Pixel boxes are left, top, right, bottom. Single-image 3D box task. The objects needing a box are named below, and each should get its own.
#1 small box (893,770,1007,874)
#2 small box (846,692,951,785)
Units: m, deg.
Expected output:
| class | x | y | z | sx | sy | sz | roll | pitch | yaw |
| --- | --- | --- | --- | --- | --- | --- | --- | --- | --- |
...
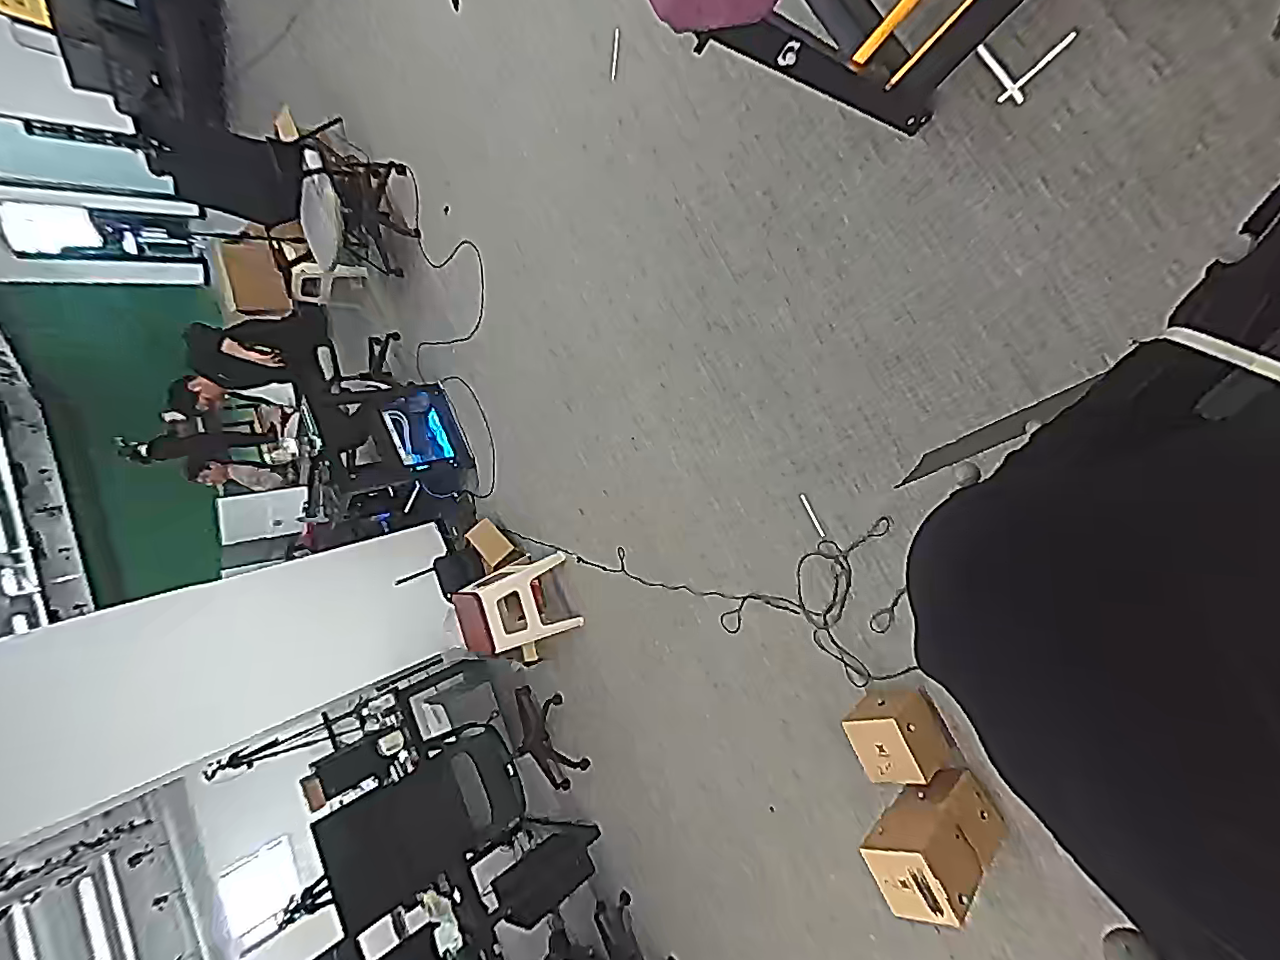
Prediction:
| class | x | y | z | sx | sy | sz | roll | pitch | yaw |
| --- | --- | --- | --- | --- | --- | --- | --- | --- | --- |
| small box | 0.814 | 0.890 | 1.417 | 0.168 | 0.176 | 0.179 | 59 | 137 | 14 |
| small box | 0.701 | 0.692 | 1.466 | 0.168 | 0.176 | 0.179 | -34 | 78 | 49 |
